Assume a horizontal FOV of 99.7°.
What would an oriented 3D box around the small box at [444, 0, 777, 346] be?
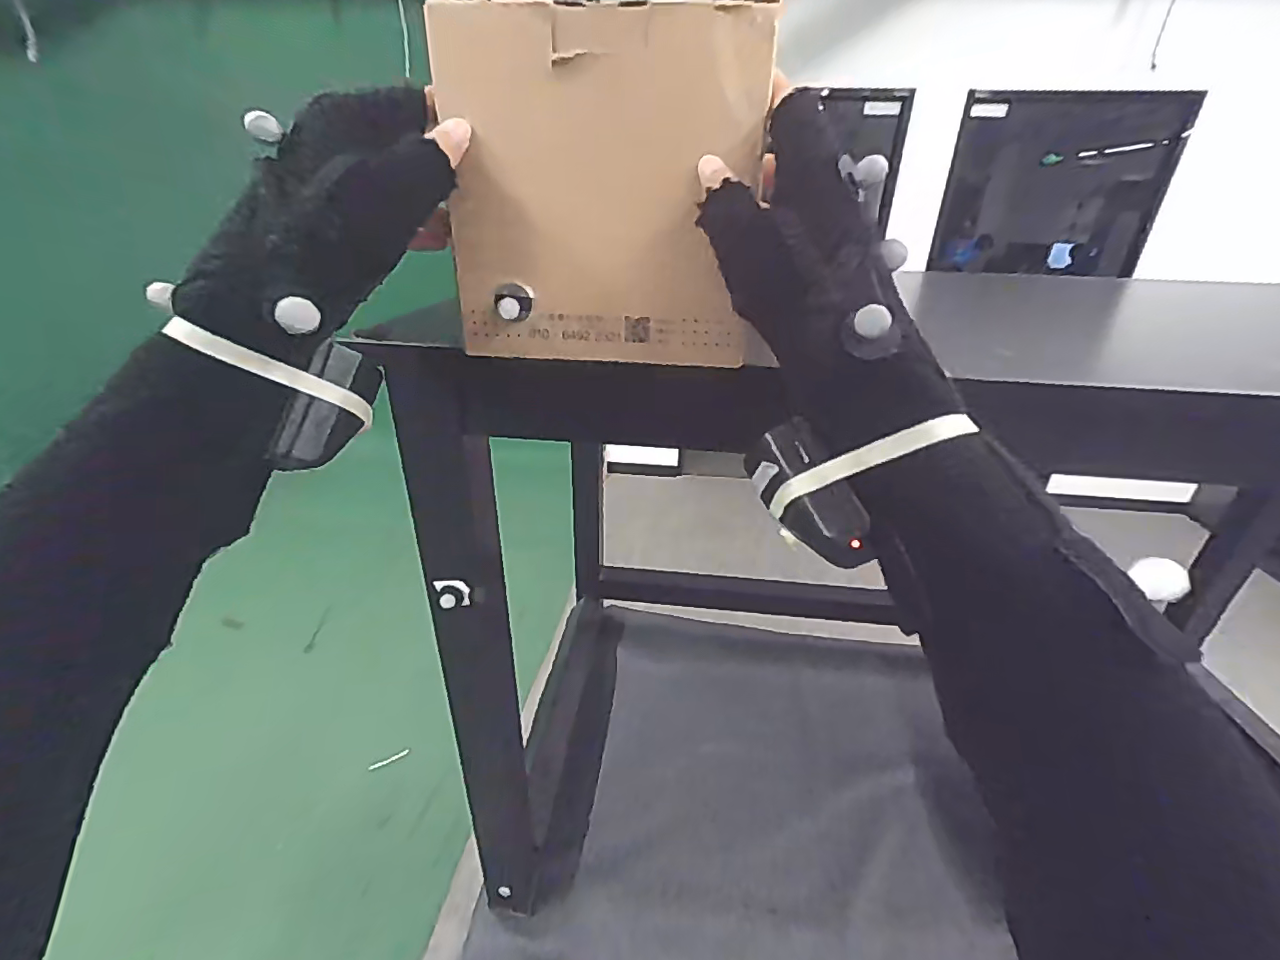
[{"bbox_3d":[-0.009,-0.192,0.366,0.168,0.176,0.179,4,26,3],"label":"small box"}]
